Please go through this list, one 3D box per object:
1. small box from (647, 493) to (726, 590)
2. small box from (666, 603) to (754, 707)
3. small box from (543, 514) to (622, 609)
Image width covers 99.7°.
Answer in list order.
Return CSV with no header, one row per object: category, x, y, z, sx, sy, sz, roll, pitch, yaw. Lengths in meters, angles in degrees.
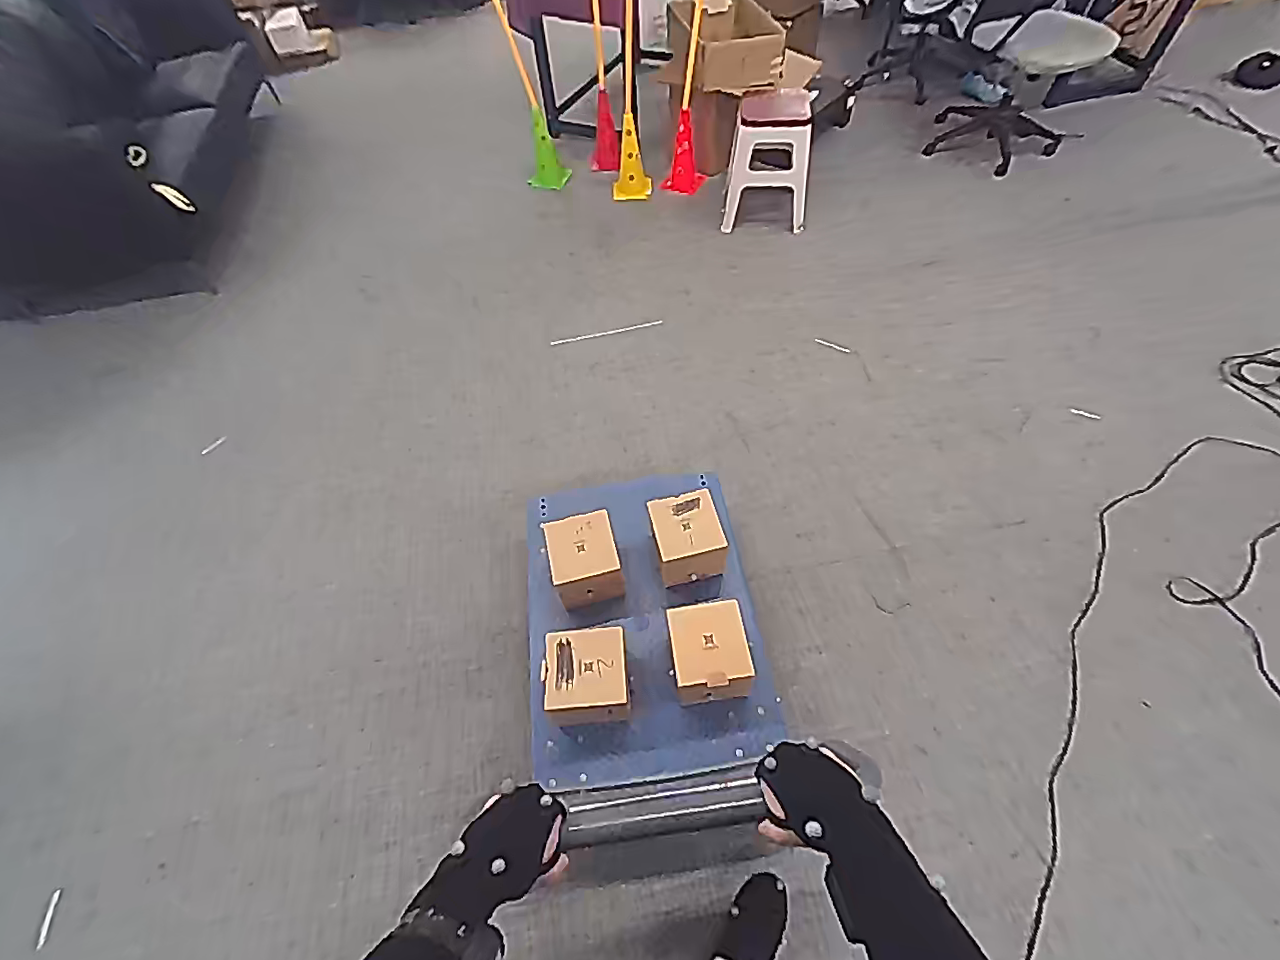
small box,0.116,0.164,1.414,0.168,0.176,0.179,-13,57,-4
small box,0.153,0.407,1.249,0.168,0.176,0.179,-8,56,-2
small box,-0.145,0.217,1.394,0.168,0.176,0.179,-13,56,-6
